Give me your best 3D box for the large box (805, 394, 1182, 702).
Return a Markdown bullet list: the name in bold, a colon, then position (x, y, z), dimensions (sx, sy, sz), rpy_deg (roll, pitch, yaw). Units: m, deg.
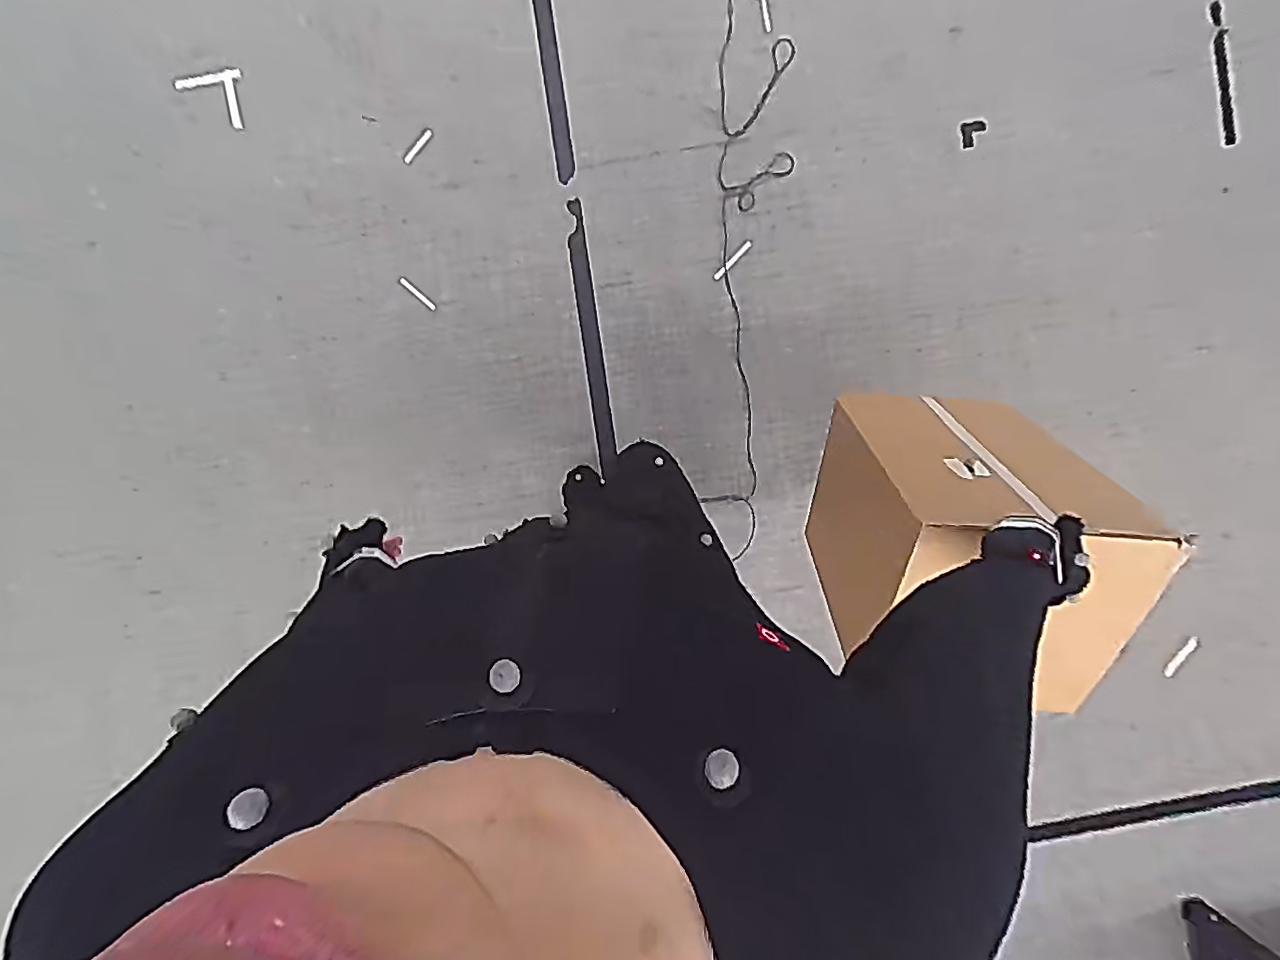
- **large box**: position (0.495, 0.089, 0.889), dimensions (0.320, 0.408, 0.320), rpy_deg (3, 123, 1)
